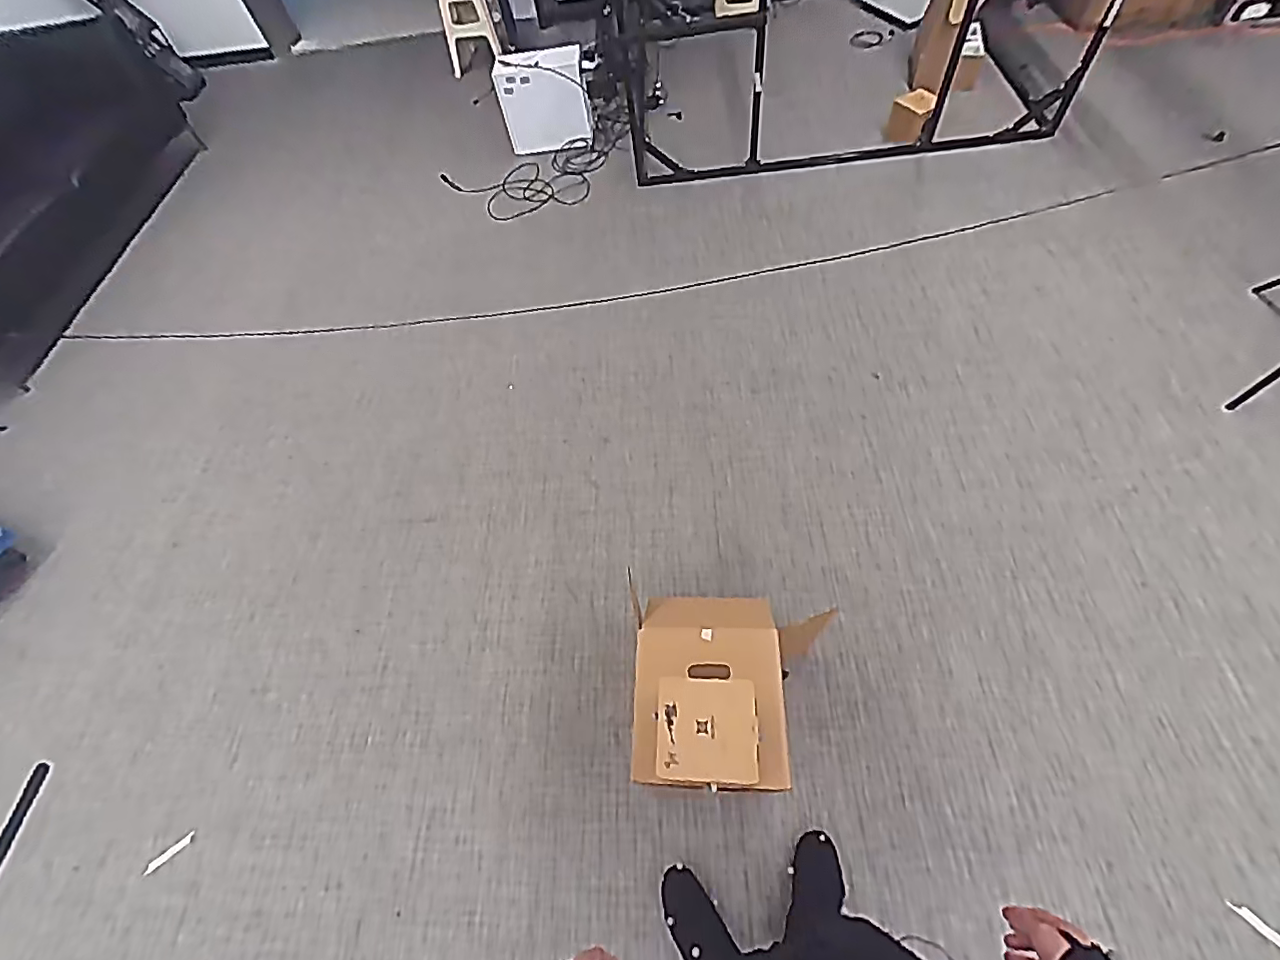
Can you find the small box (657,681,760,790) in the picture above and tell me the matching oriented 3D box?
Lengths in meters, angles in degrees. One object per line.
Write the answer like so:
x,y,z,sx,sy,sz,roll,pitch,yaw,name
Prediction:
0.127,0.484,1.023,0.179,0.176,0.168,0,61,7,small box
